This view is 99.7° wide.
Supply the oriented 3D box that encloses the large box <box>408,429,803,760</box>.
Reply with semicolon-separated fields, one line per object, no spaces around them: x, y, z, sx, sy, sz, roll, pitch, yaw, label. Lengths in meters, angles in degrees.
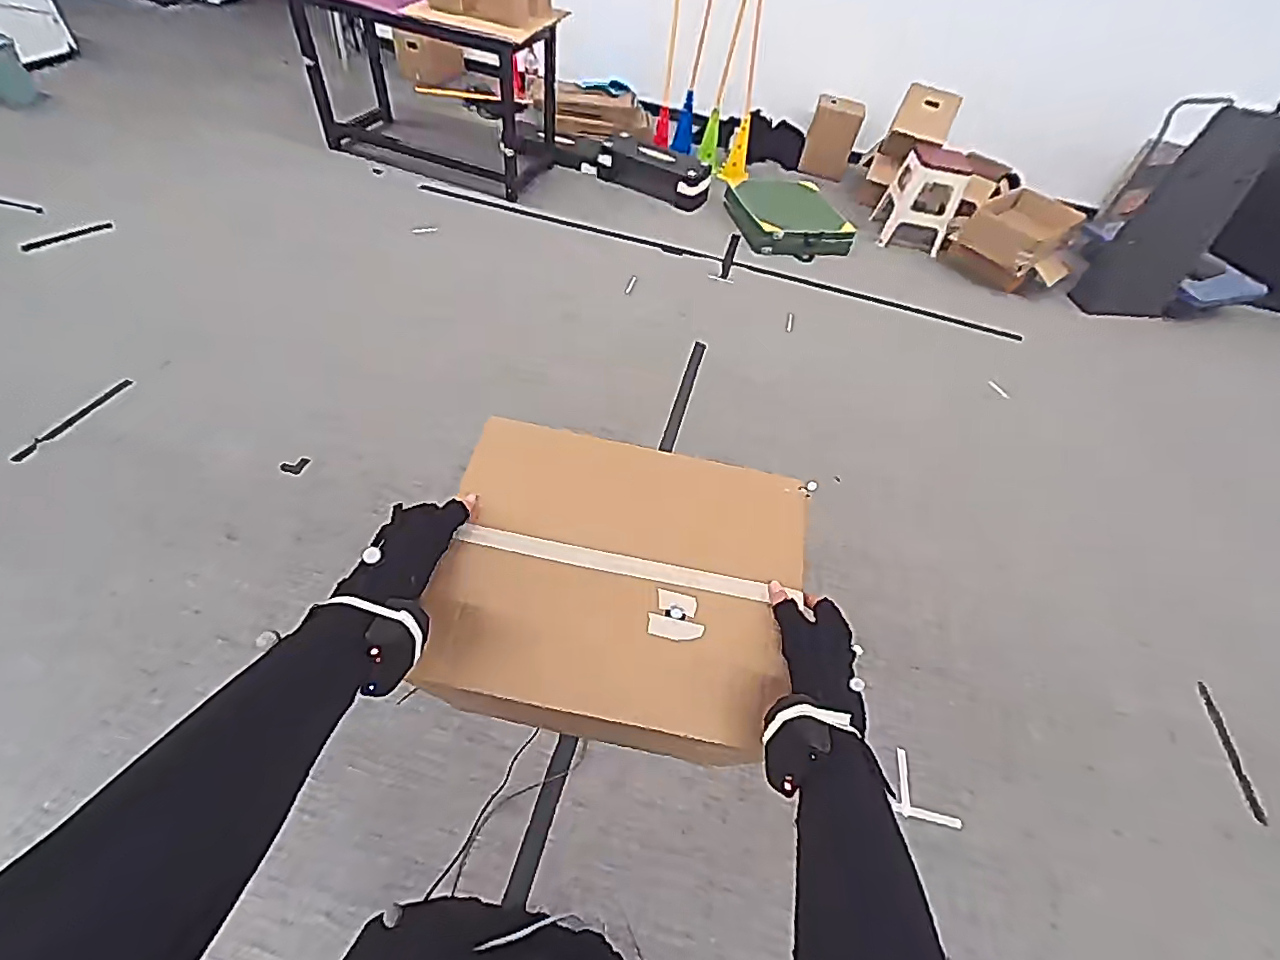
-0.030;0.172;0.739;0.408;0.320;0.320;12;61;1;large box
